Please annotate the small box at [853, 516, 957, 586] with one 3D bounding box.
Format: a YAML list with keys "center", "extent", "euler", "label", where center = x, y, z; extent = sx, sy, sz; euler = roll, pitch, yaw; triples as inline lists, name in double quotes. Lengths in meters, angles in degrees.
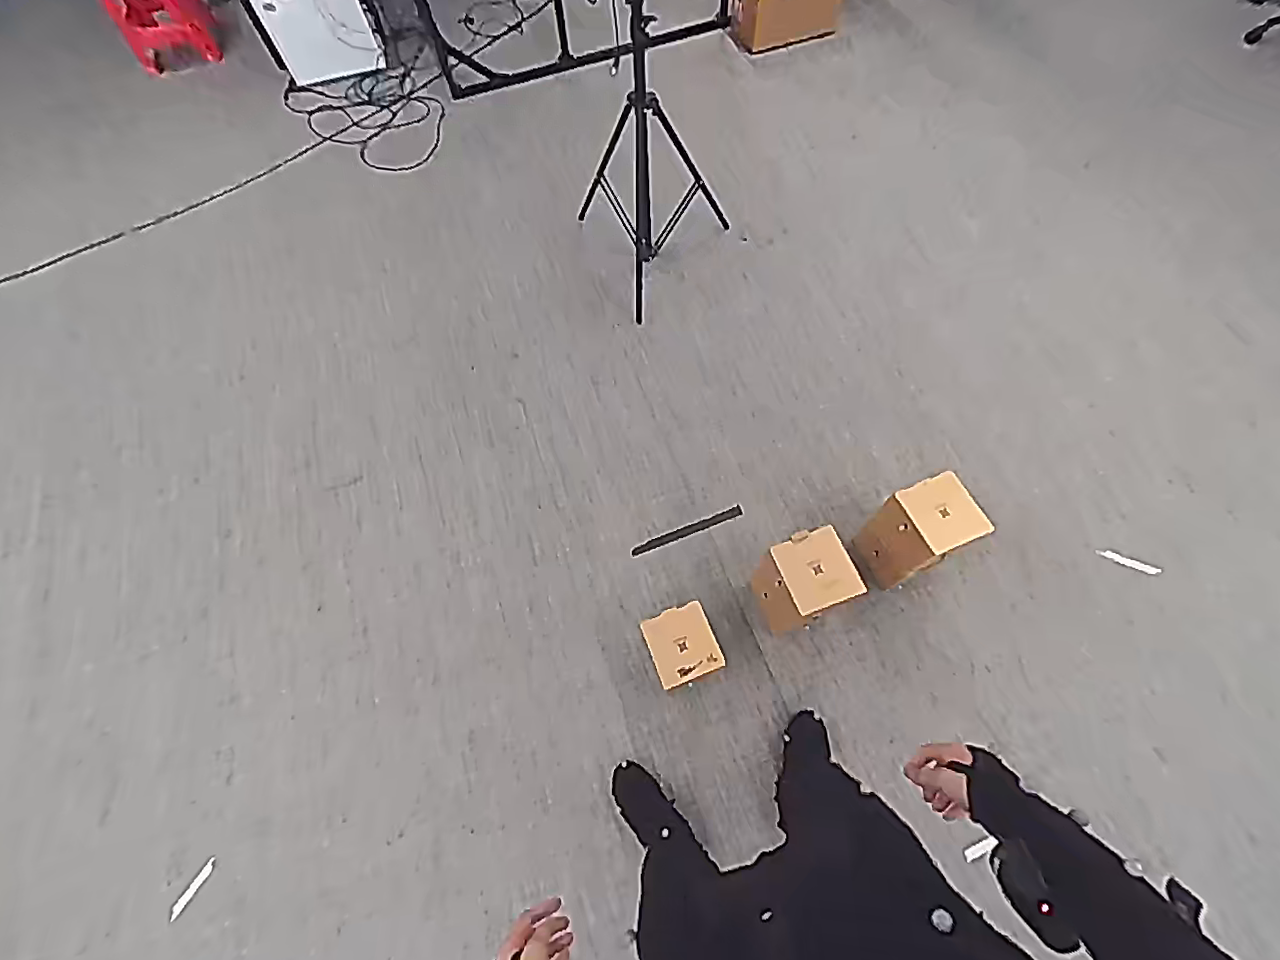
- center: [0.726, 0.180, 1.499]
  extent: [0.168, 0.176, 0.179]
  euler: [-22, 65, -8]
  label: "small box"

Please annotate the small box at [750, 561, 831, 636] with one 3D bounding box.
- center: [0.411, 0.301, 1.456]
  extent: [0.168, 0.176, 0.179]
  euler: [-19, 66, -6]
  label: "small box"

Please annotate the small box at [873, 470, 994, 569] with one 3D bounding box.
- center: [0.722, 0.109, 1.352]
  extent: [0.168, 0.176, 0.179]
  euler: [-21, 65, -8]
  label: "small box"

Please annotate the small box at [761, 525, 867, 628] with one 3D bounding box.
- center: [0.407, 0.236, 1.305]
  extent: [0.168, 0.176, 0.179]
  euler: [-19, 65, -6]
  label: "small box"

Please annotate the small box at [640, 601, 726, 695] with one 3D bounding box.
- center: [0.107, 0.441, 1.407]
  extent: [0.168, 0.176, 0.179]
  euler: [-21, 65, -6]
  label: "small box"
